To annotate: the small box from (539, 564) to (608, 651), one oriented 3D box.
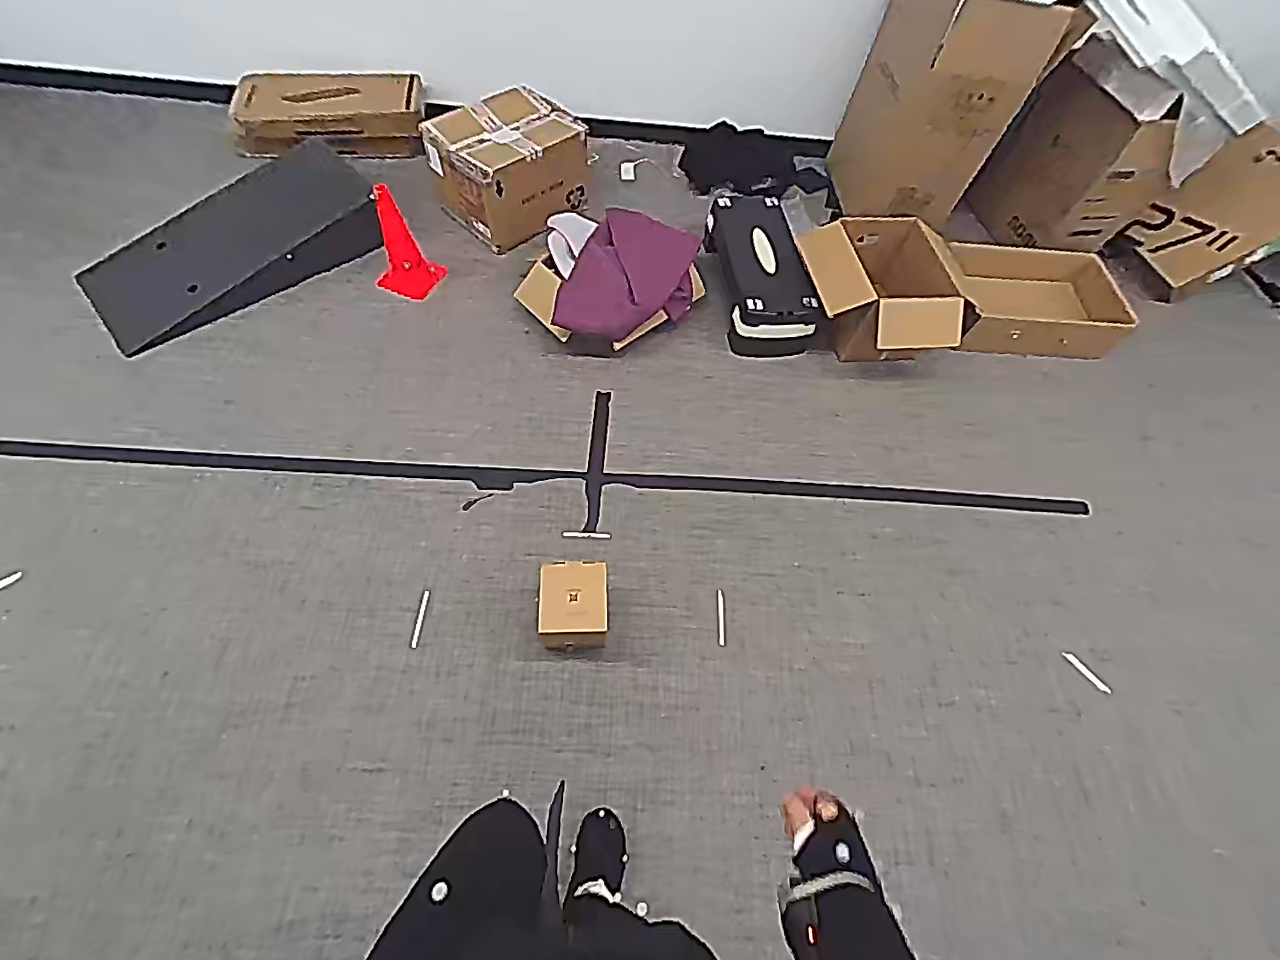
[{"bbox_3d":[-0.166,0.328,1.380,0.168,0.176,0.179,-1,61,-4],"label":"small box"}]
